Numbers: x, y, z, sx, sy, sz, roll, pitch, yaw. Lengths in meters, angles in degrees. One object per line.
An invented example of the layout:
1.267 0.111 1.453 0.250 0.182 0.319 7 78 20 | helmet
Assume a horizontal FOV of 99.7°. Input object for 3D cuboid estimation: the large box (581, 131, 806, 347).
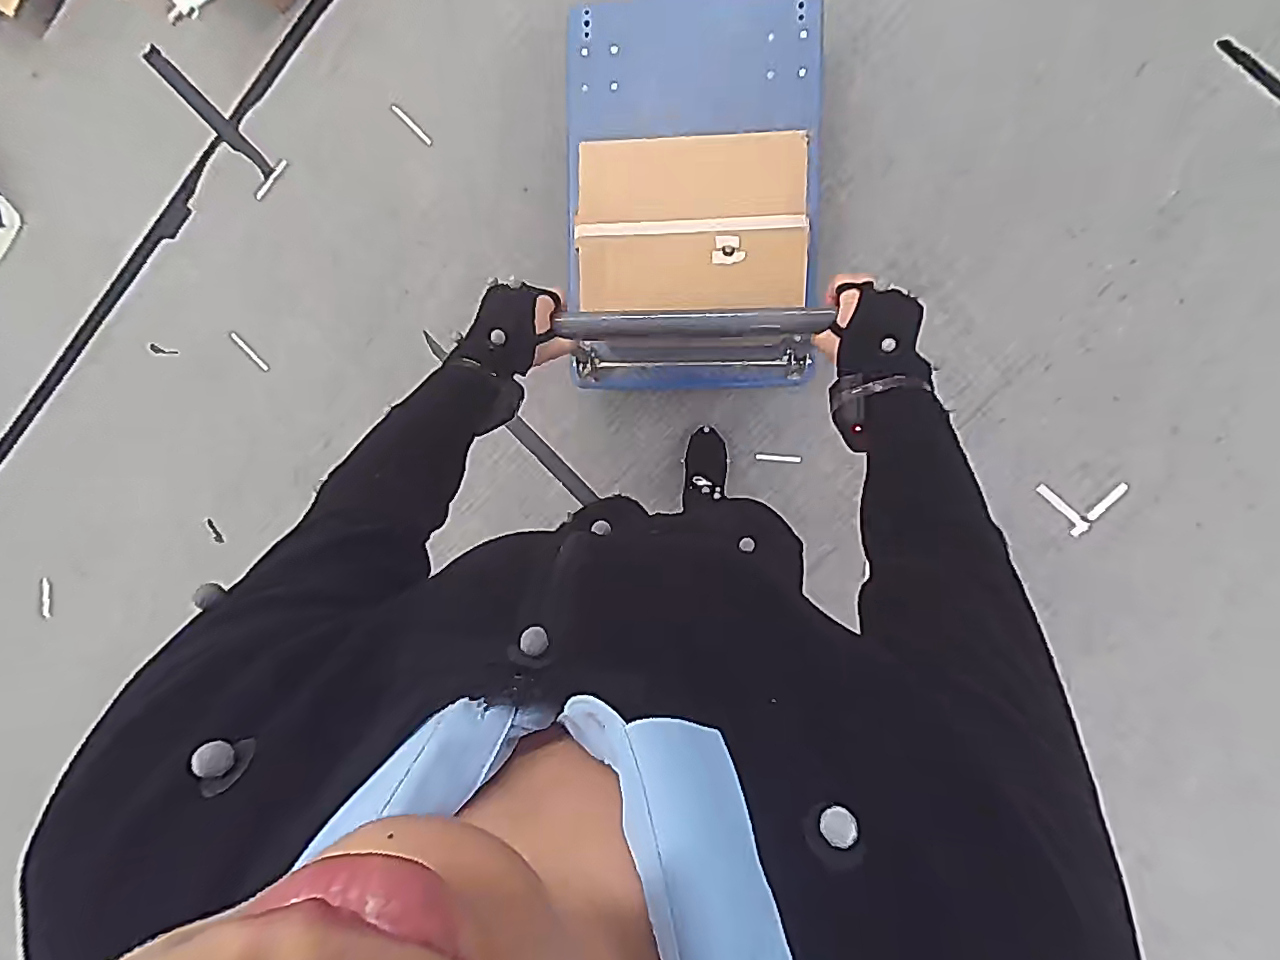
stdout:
0.104 -0.462 1.113 0.408 0.320 0.320 0 94 5 | large box
